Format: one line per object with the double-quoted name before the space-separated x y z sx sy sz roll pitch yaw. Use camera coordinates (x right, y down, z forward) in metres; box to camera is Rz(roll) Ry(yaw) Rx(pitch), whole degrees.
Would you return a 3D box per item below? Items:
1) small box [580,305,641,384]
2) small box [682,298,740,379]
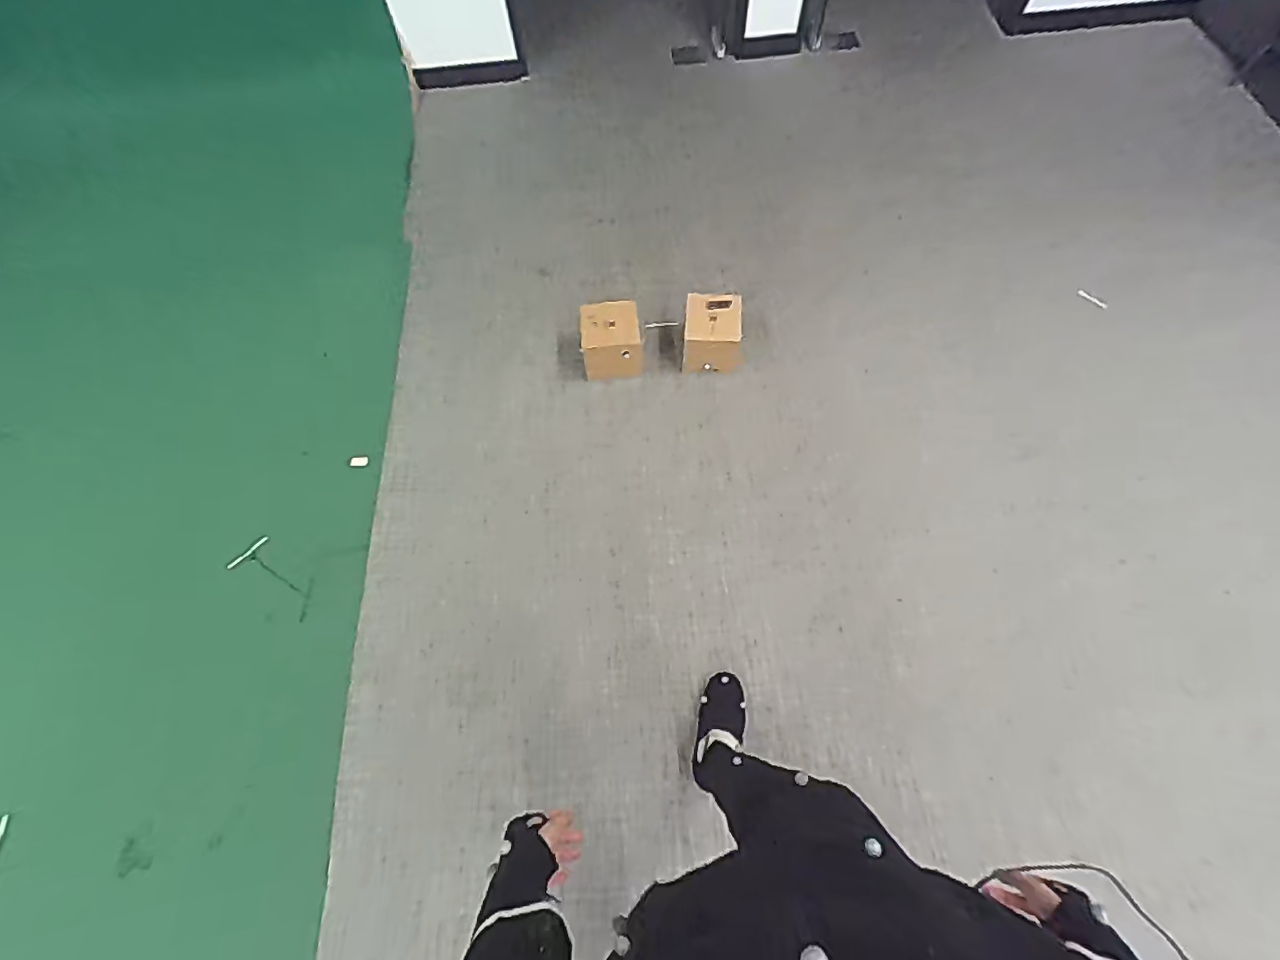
"small box" -0.088 -0.416 1.678 0.179 0.176 0.168 -6 65 1
"small box" 0.217 -0.437 1.677 0.168 0.176 0.179 3 66 4
